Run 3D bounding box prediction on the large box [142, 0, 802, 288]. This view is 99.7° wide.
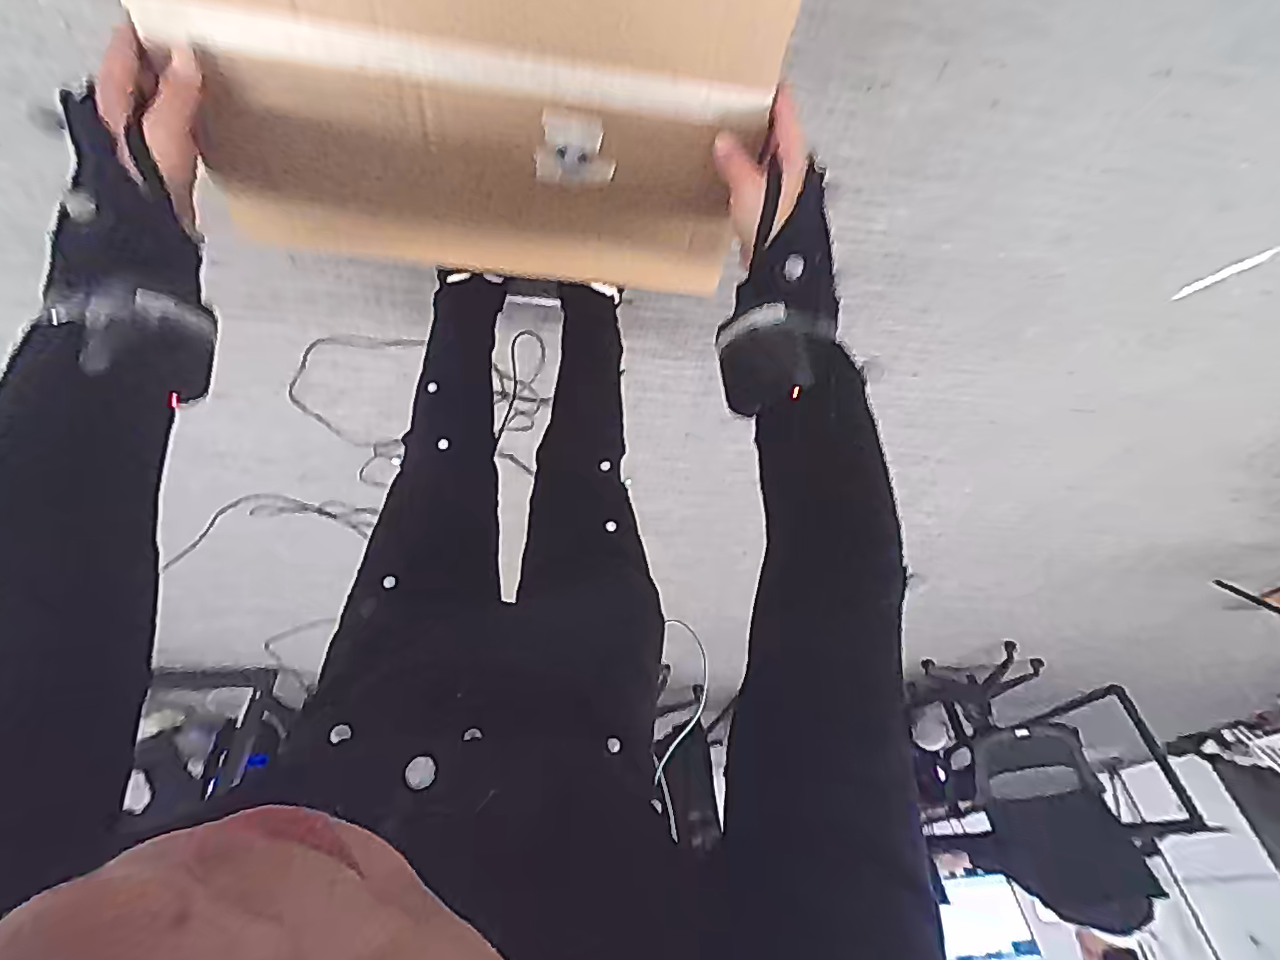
[{"bbox_3d":[-0.111,-0.395,0.439,0.408,0.320,0.320,3,146,-8],"label":"large box"}]
